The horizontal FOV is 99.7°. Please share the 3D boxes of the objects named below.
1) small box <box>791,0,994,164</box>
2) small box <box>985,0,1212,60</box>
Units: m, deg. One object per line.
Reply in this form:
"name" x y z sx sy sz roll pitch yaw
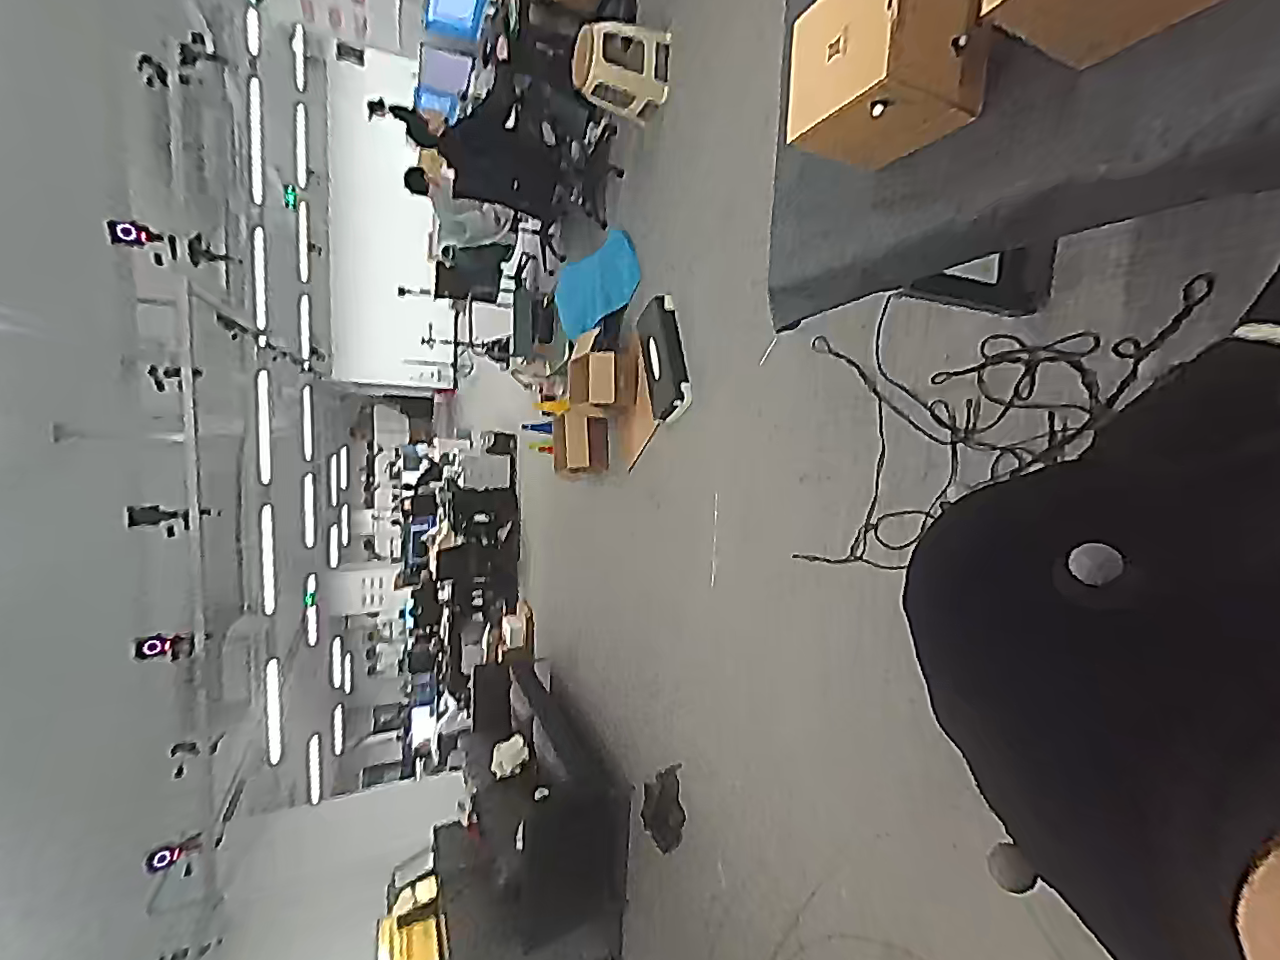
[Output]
"small box" 0.330 -0.554 0.720 0.179 0.176 0.168 -167 79 -64
"small box" 0.444 -0.518 0.466 0.179 0.176 0.168 -165 77 -66
